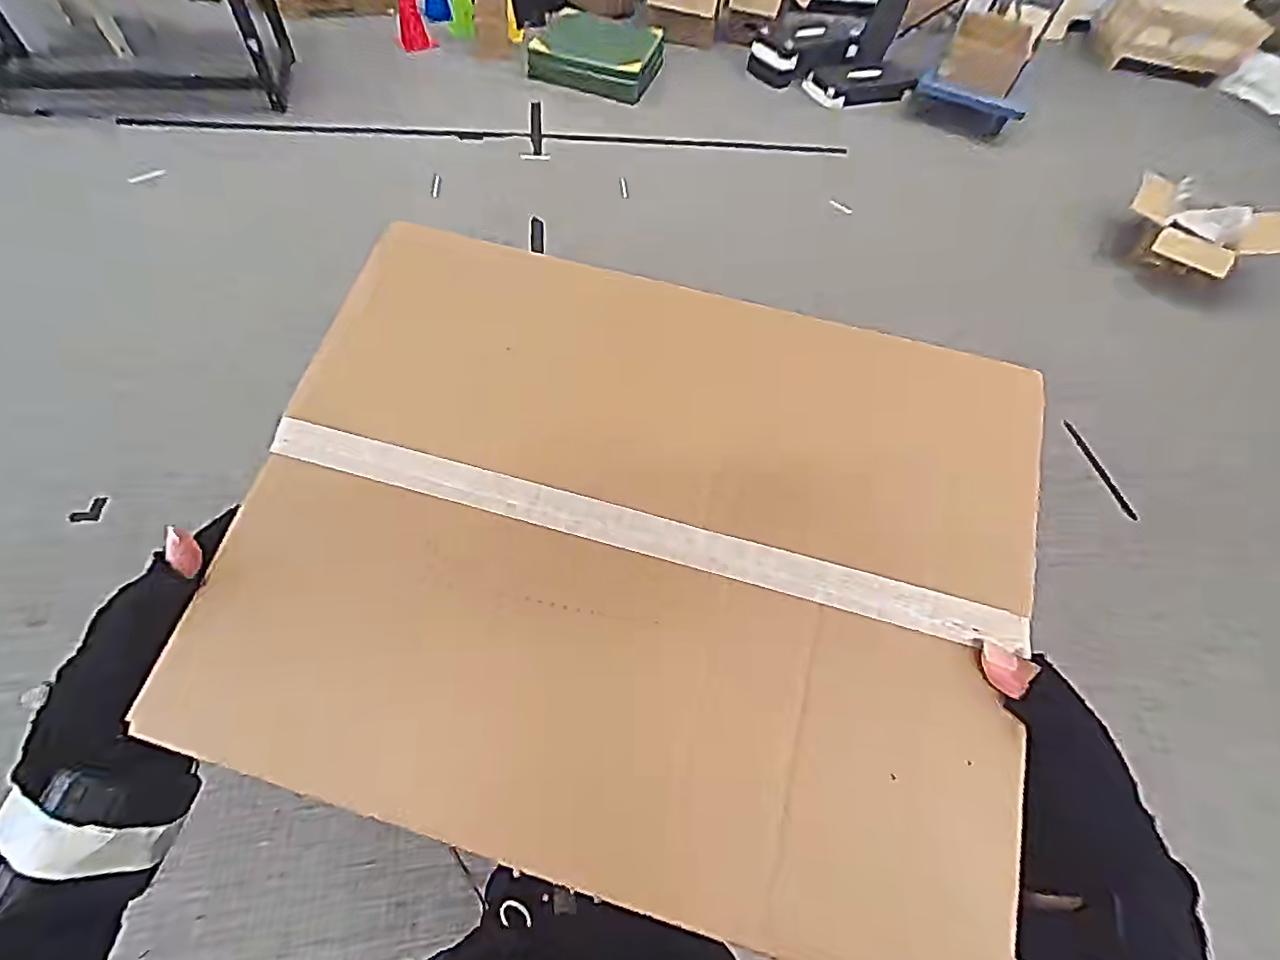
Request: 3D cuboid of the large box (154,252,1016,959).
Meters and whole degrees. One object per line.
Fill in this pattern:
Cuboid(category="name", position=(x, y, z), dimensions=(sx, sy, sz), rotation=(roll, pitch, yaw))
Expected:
Cuboid(category="large box", position=(-0.008, 0.083, 0.431), dimensions=(0.408, 0.320, 0.320), rotation=(15, 73, 5))
